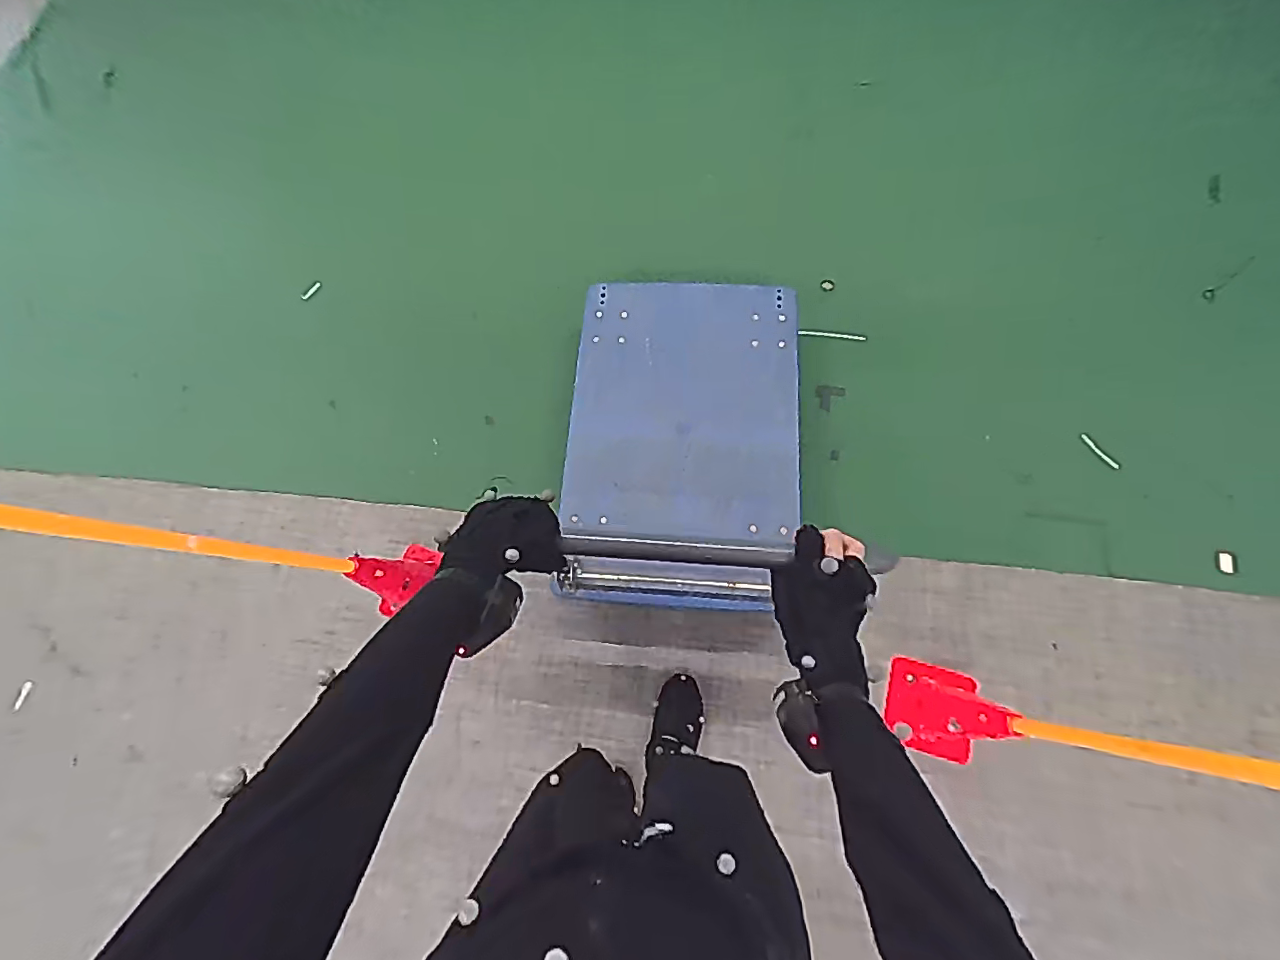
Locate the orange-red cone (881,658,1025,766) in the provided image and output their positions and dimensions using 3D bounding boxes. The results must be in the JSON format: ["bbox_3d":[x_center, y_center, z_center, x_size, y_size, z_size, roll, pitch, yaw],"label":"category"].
[{"bbox_3d":[0.665,0.485,1.102,0.198,0.360,0.199,16,74,10],"label":"orange-red cone"}]
